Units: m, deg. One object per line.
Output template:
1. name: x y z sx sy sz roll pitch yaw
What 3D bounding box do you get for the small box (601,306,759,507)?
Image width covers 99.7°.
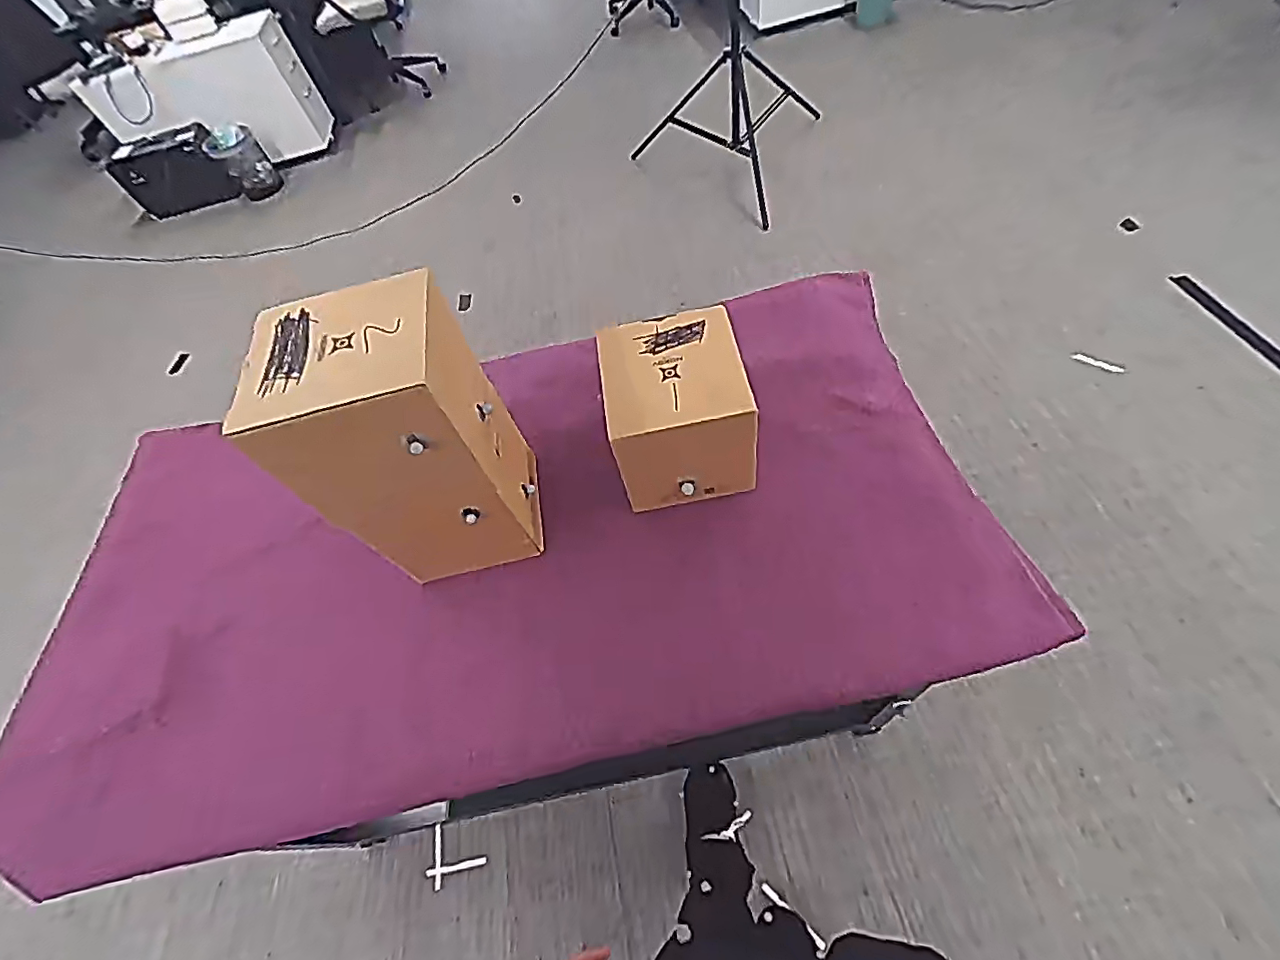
1. small box: 0.051 -0.089 0.695 0.168 0.176 0.179 -11 57 4

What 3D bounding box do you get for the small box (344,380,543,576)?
1. small box: -0.238 0.005 0.692 0.179 0.176 0.168 -14 56 1
